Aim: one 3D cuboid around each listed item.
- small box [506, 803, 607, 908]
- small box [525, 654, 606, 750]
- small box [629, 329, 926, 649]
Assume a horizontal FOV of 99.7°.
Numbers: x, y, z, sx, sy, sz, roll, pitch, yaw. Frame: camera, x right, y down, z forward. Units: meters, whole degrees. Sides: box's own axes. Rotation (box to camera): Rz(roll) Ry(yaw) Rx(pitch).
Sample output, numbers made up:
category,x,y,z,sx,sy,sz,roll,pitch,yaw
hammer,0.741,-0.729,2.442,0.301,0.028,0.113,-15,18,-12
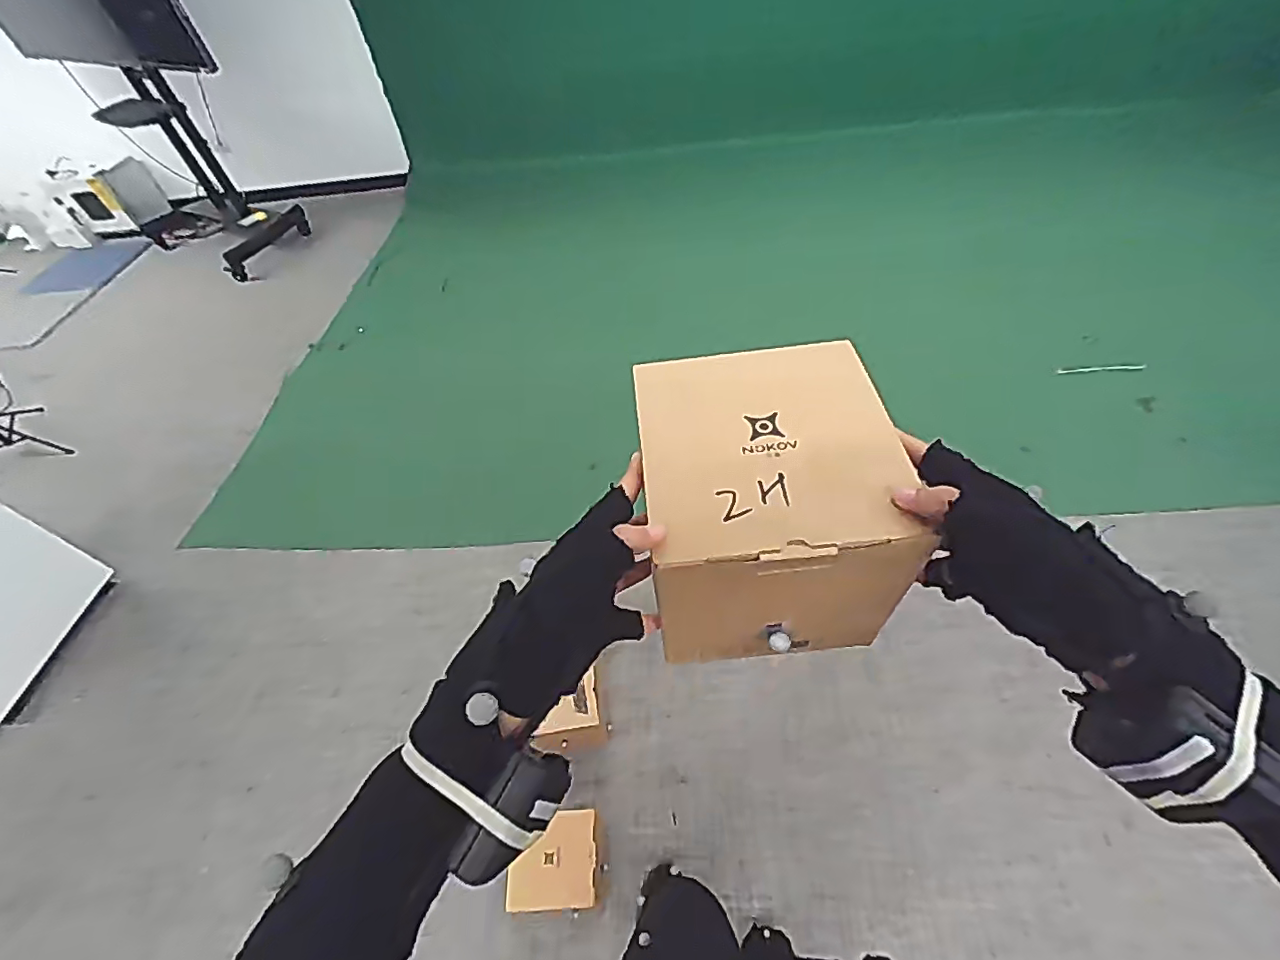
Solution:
category,x,y,z,sx,sy,sz,roll,pitch,yaw
small box,-0.170,0.803,1.153,0.179,0.176,0.168,-6,51,1
small box,-0.182,0.560,1.357,0.179,0.176,0.168,-10,49,0
small box,0.082,0.011,0.419,0.168,0.176,0.179,-7,52,2
